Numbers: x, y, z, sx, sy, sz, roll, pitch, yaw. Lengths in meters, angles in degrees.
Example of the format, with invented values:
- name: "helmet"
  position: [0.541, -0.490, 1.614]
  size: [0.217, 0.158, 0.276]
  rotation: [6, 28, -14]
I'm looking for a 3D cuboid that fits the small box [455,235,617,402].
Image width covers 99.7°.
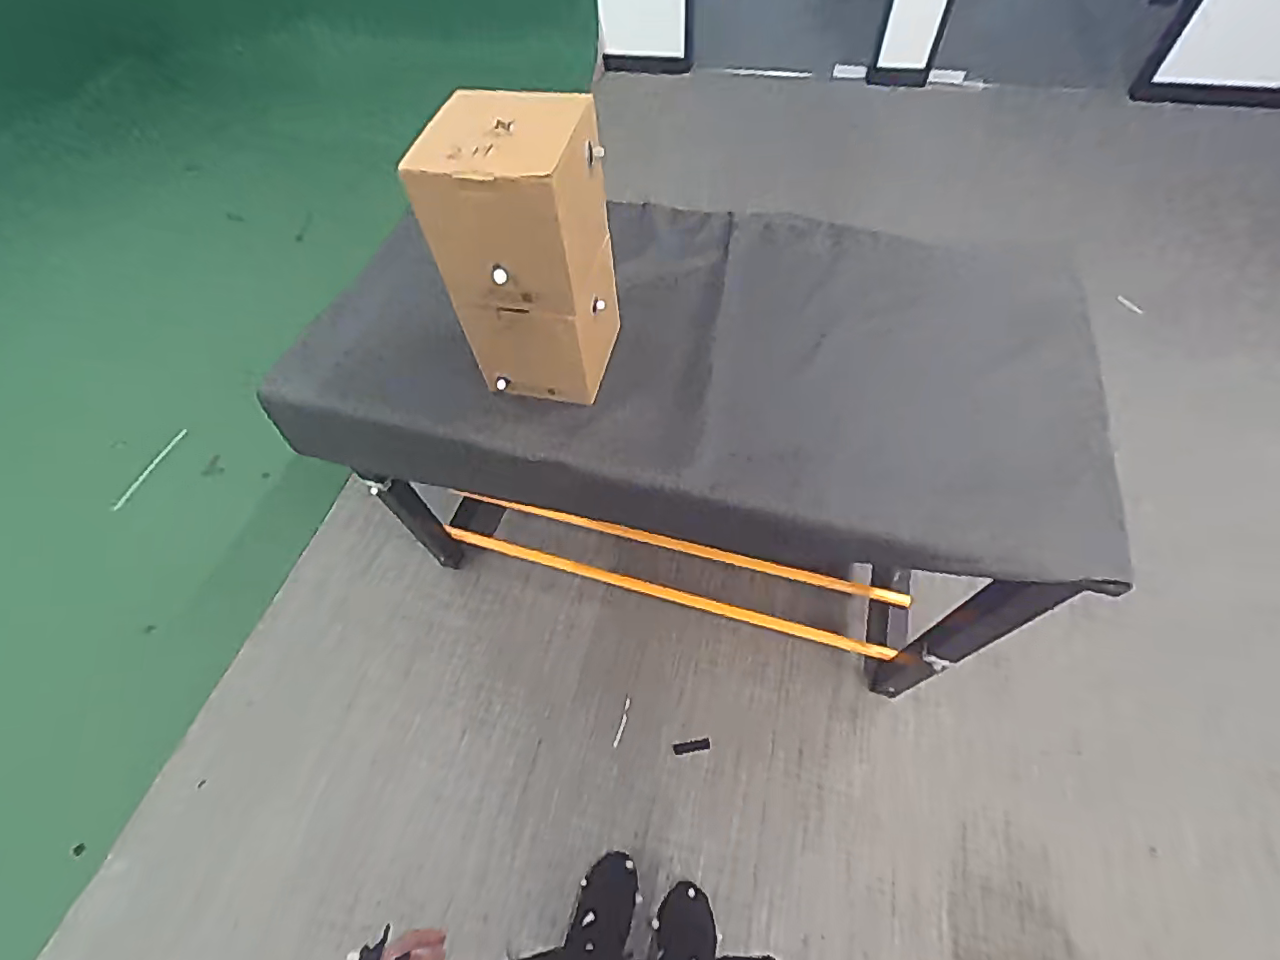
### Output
- name: "small box"
  position: [-0.134, -0.235, 0.783]
  size: [0.168, 0.176, 0.179]
  rotation: [10, 58, 9]

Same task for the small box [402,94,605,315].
- name: "small box"
  position: [-0.142, -0.325, 0.645]
  size: [0.168, 0.176, 0.179]
  rotation: [7, 59, 9]
